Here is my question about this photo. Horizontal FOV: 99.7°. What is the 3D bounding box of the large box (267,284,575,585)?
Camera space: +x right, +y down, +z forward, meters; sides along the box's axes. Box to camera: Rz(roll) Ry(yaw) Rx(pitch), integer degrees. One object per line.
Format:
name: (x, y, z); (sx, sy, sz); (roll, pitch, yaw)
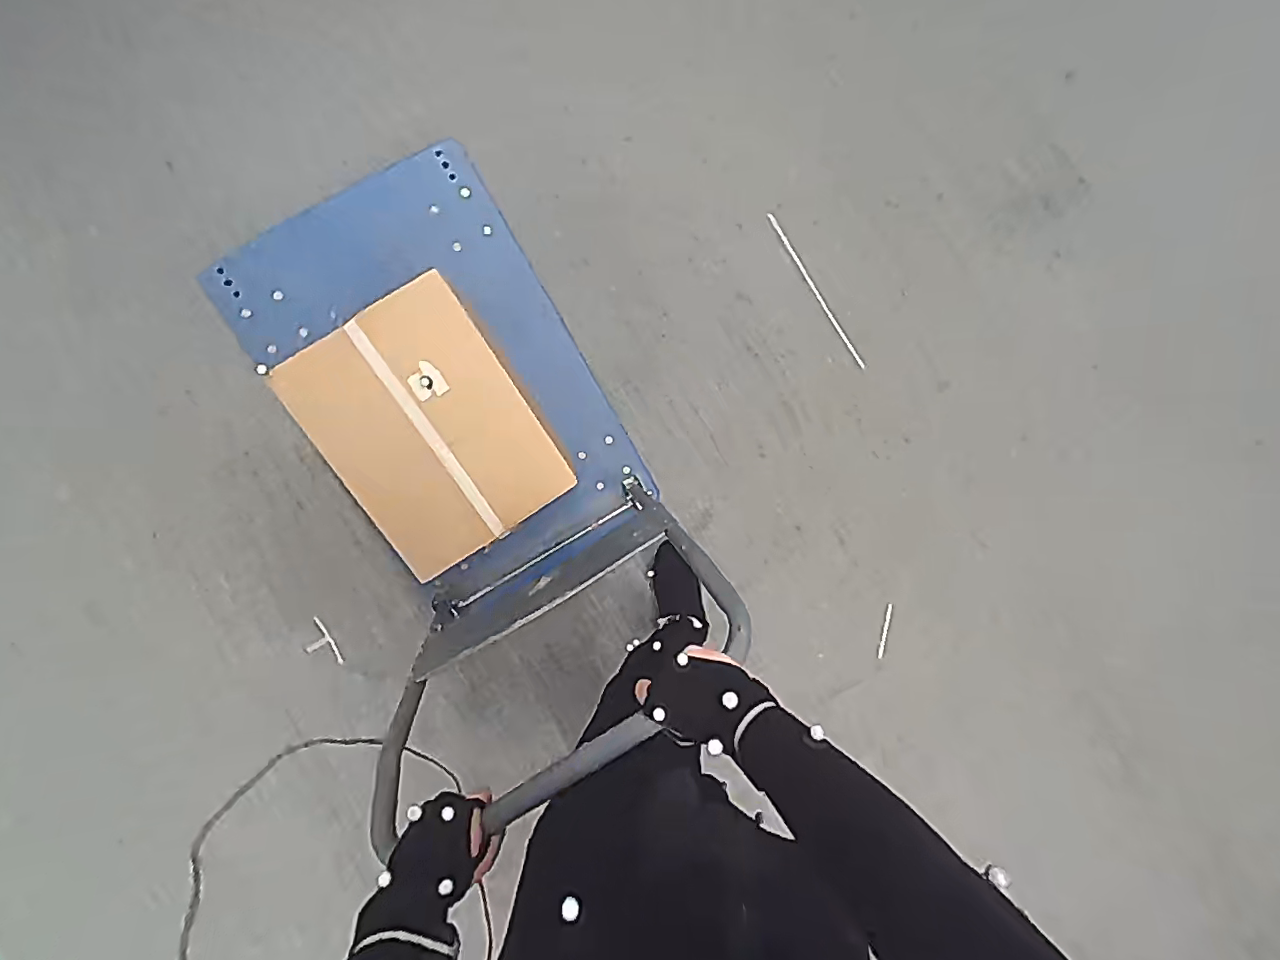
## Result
large box: (-0.359, -0.086, 1.016); (0.320, 0.320, 0.408); (-34, 102, -2)
